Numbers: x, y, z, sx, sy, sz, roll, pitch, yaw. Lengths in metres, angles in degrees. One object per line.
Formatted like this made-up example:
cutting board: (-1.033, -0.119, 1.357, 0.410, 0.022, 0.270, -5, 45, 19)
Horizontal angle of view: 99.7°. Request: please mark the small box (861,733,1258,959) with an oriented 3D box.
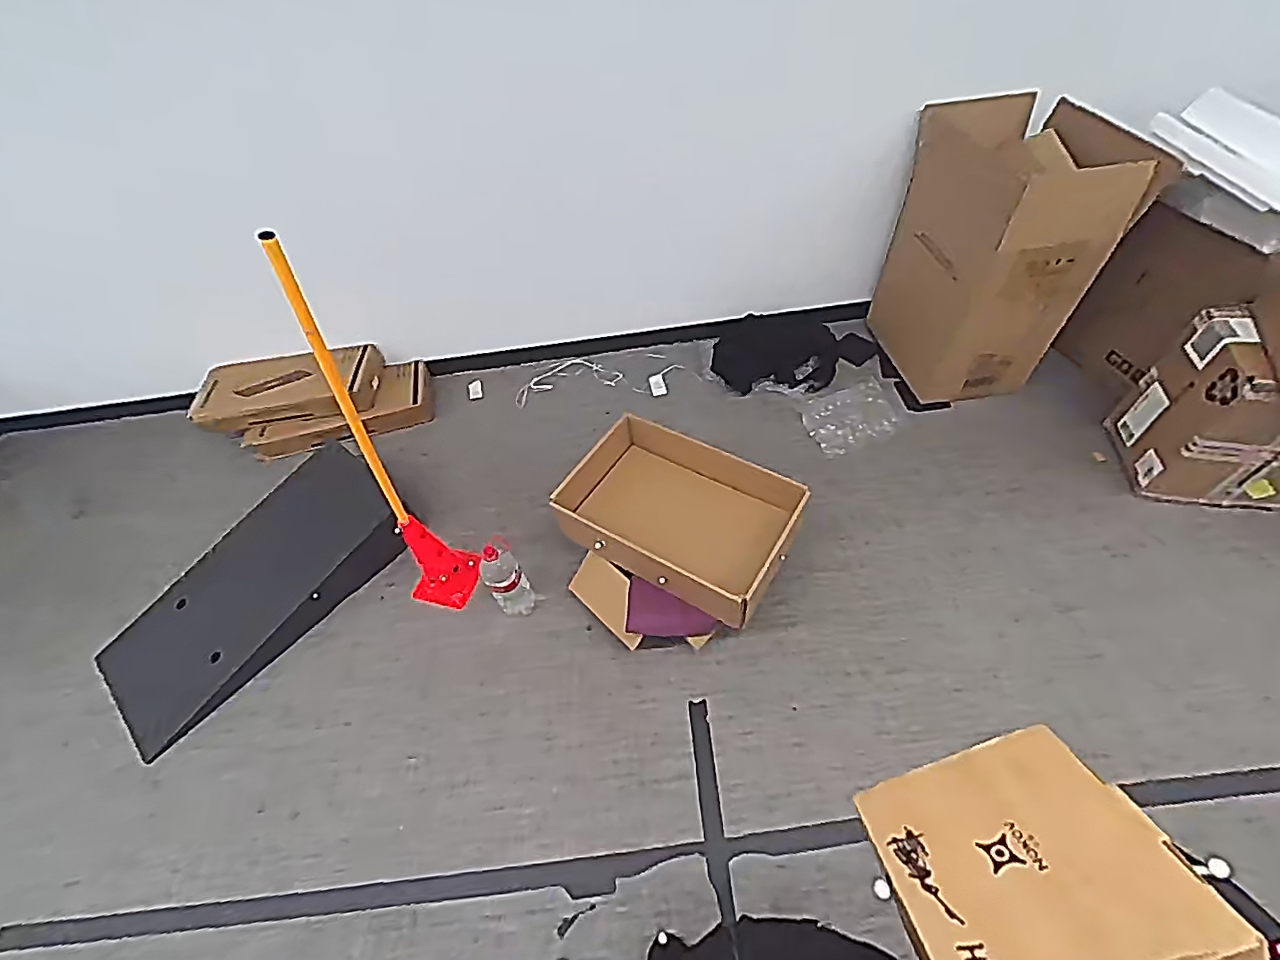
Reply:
small box: (0.306, 0.344, 0.421, 0.179, 0.176, 0.168, -23, 17, 5)
